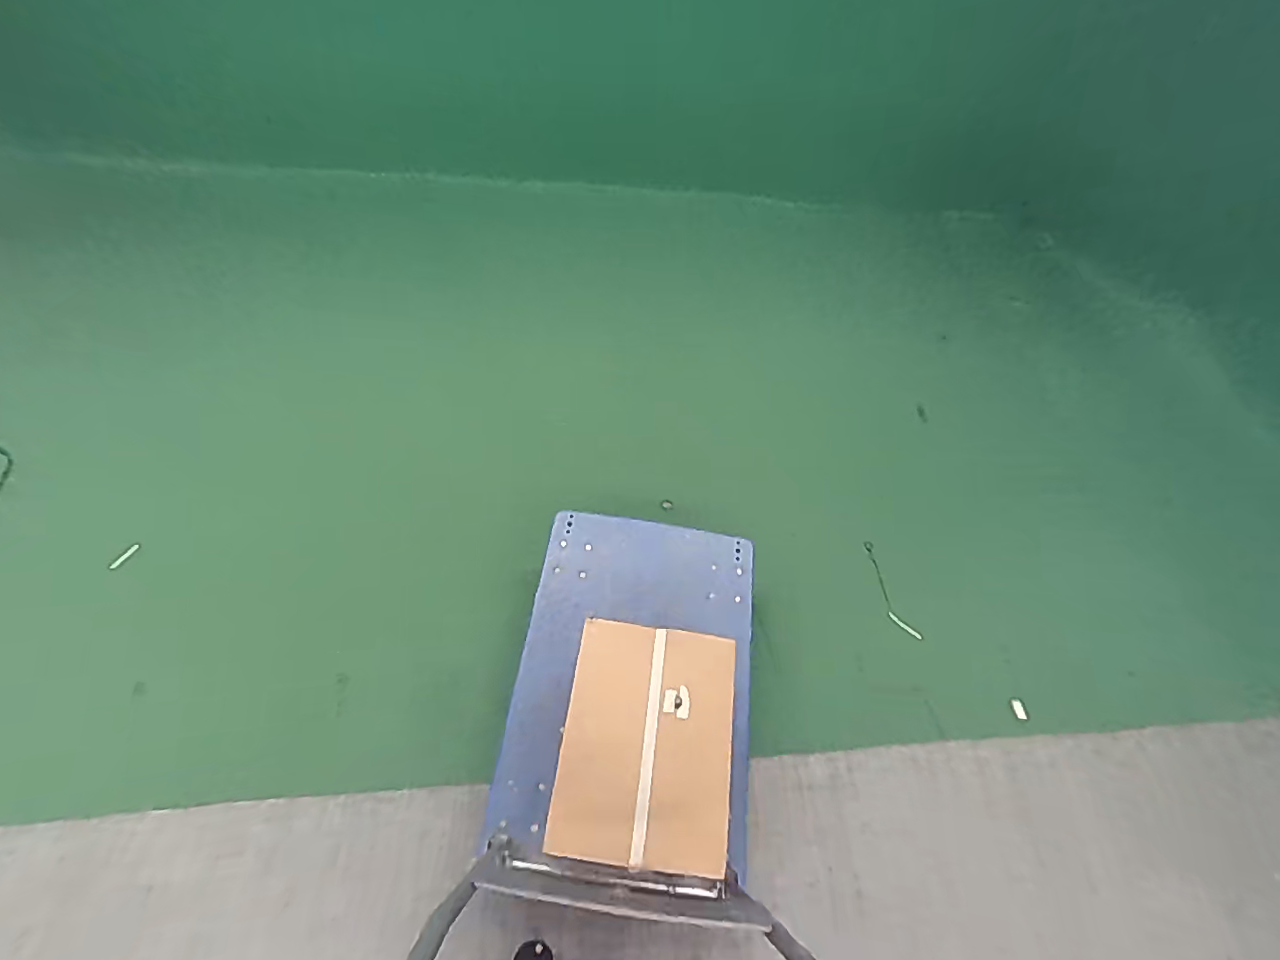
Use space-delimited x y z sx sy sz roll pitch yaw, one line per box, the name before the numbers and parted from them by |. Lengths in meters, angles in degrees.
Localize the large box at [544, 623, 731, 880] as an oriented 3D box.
large box | -0.001 0.558 1.130 0.320 0.320 0.408 10 59 -1
